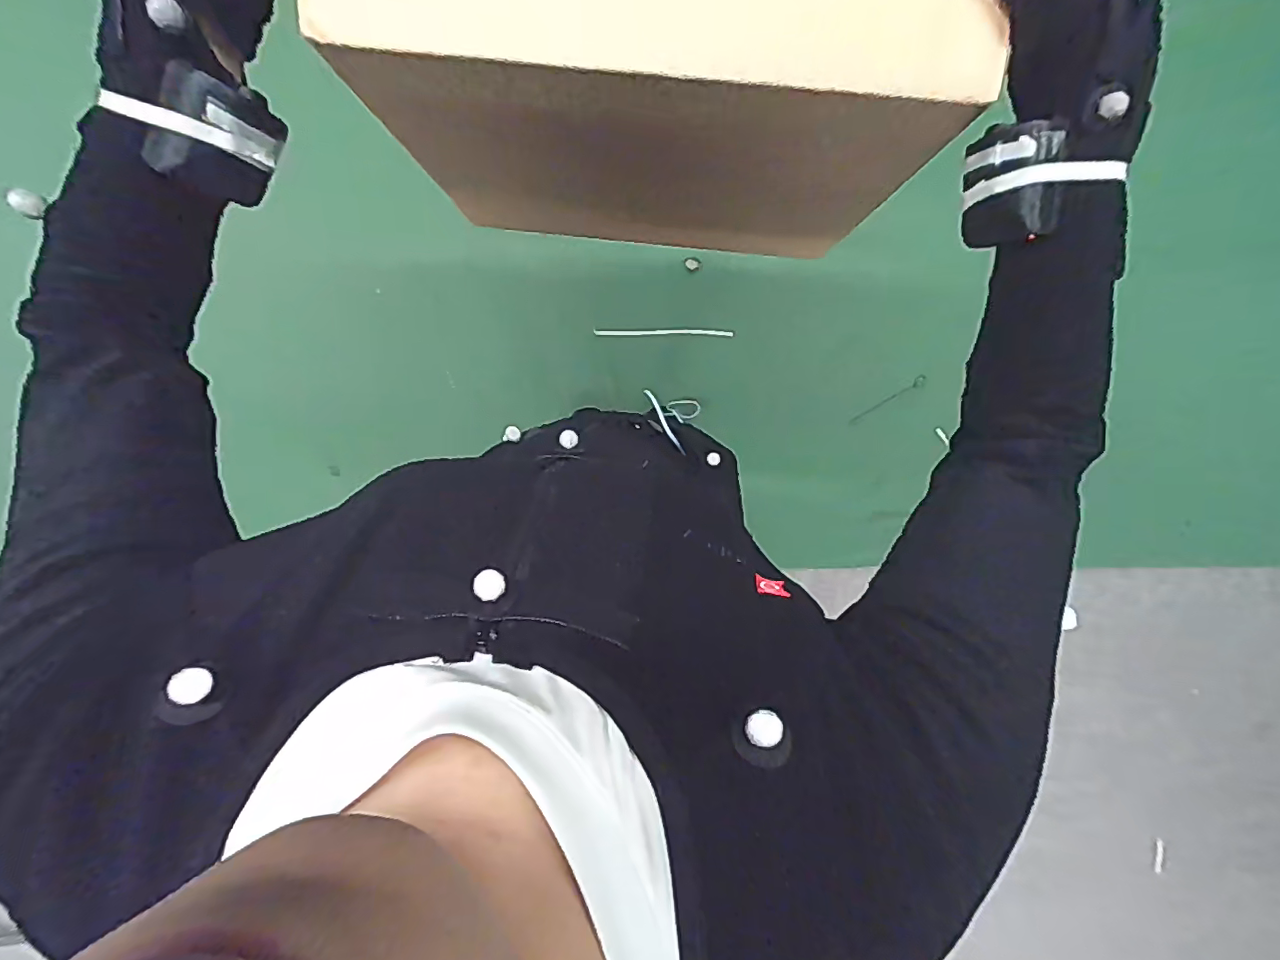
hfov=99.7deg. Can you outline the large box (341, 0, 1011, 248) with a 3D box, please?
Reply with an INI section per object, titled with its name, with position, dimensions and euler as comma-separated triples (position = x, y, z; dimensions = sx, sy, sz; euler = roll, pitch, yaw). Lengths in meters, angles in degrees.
[large box]
position = 0.028, -0.413, 0.454
dimensions = 0.408, 0.320, 0.320
euler = 5, 97, -1
